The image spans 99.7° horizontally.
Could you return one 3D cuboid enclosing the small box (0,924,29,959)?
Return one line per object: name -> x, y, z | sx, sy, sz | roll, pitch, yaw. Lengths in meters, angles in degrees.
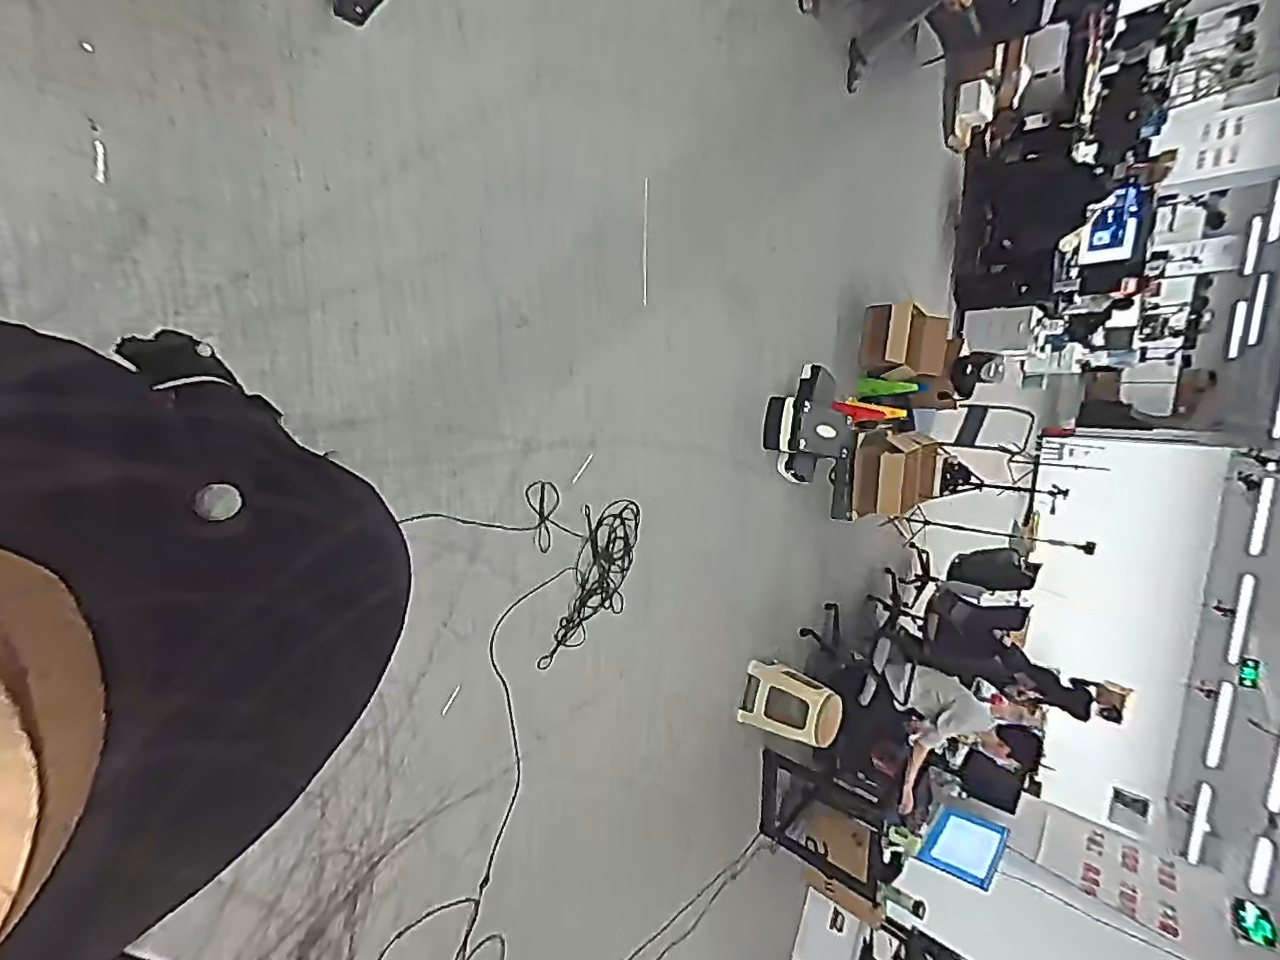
small box -> -1.221, 0.951, 0.965 | 0.168, 0.176, 0.179 | -9, 103, -46
